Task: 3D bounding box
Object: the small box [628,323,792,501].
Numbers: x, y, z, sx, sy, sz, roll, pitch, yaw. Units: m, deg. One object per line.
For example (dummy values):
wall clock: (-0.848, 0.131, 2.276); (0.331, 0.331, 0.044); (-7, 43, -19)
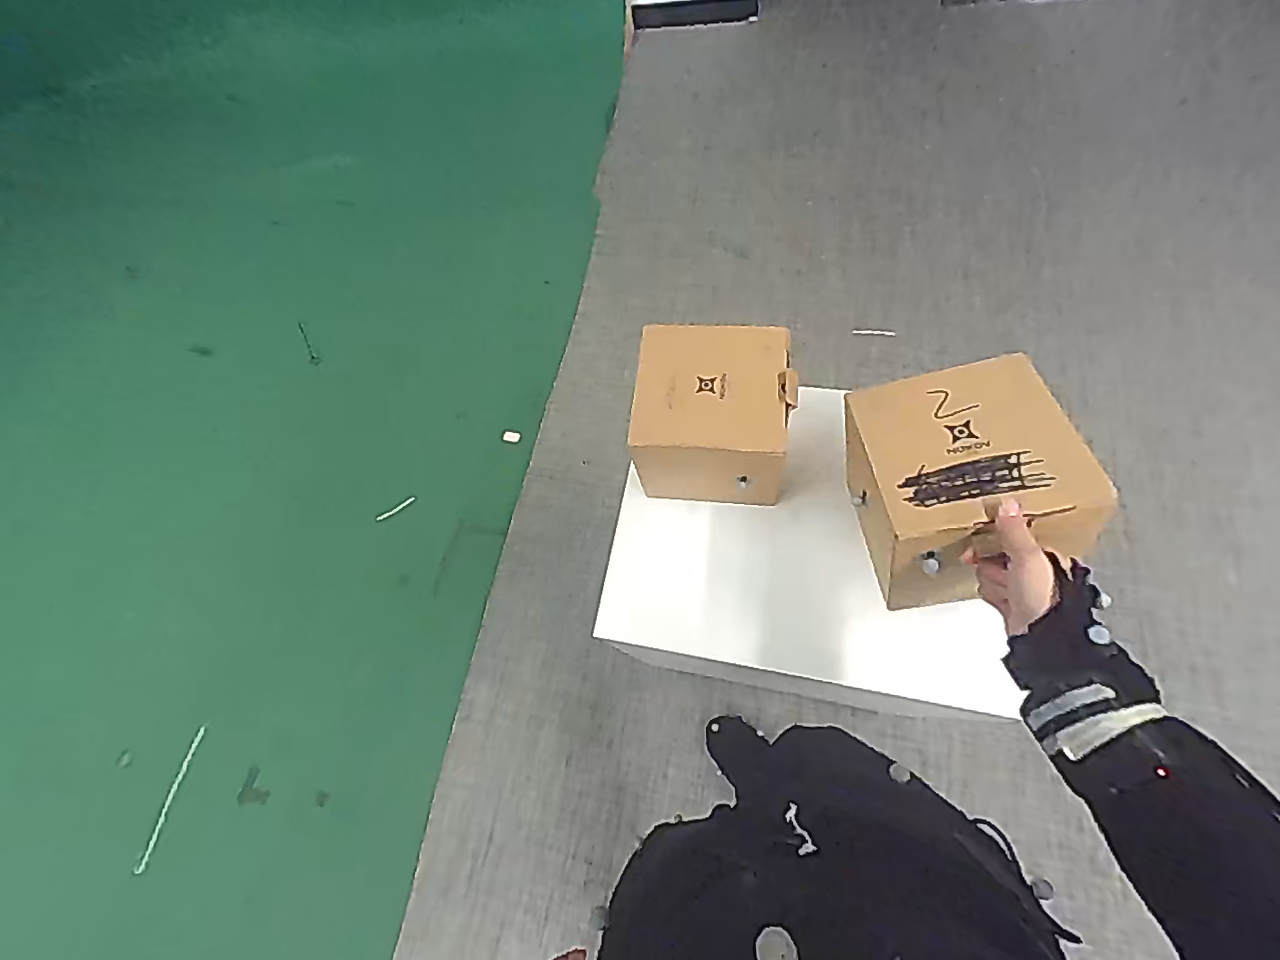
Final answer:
small box: (0.092, -0.078, 0.684); (0.179, 0.176, 0.168); (3, 68, 11)
